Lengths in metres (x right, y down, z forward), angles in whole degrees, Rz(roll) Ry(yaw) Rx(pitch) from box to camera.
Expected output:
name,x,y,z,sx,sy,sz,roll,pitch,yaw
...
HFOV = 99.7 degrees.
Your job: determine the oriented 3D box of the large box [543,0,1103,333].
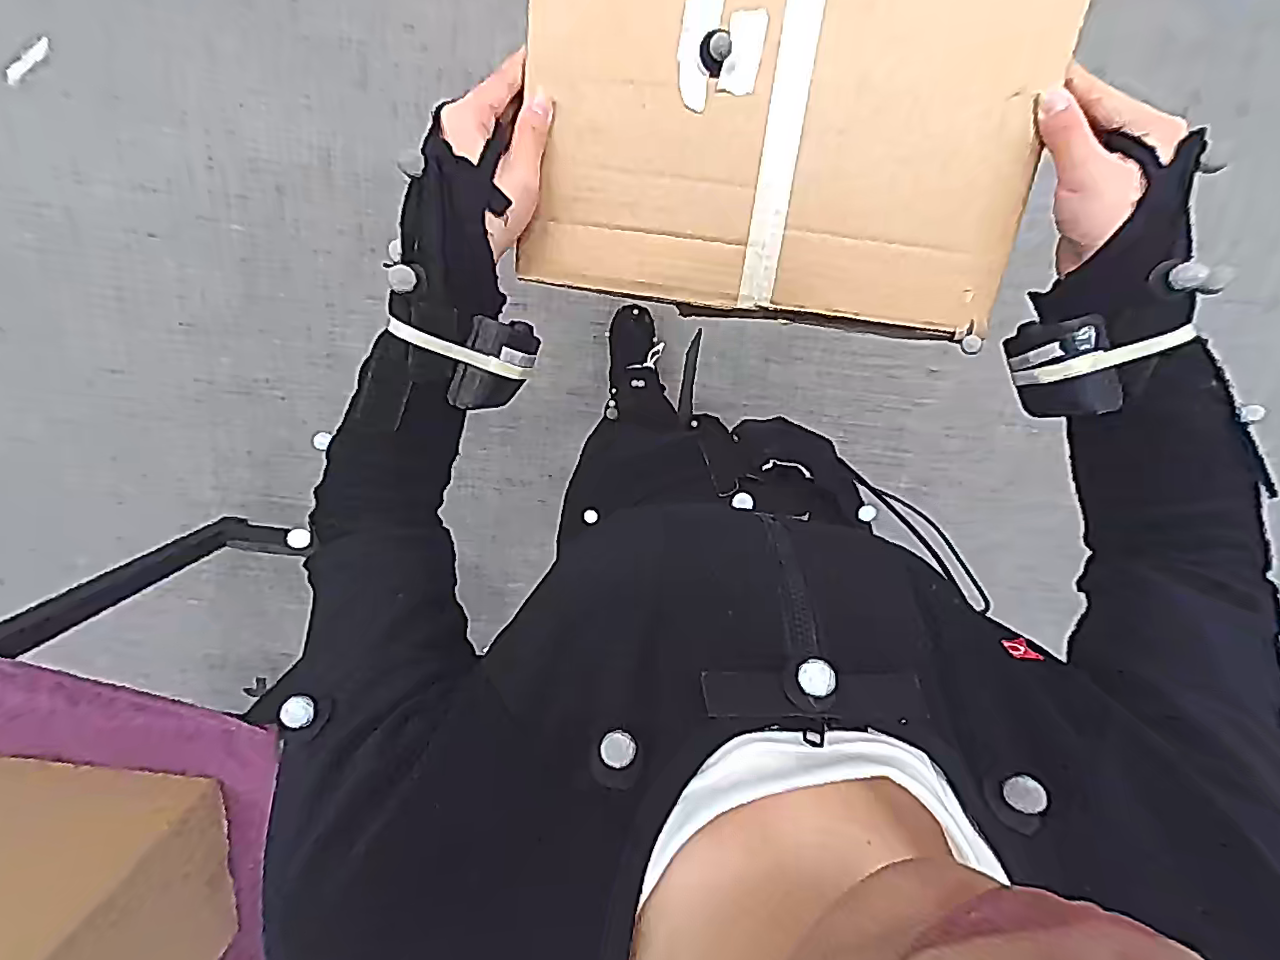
name,x,y,z,sx,sy,sz,roll,pitch,yaw
large box,0.110,-0.347,0.432,0.320,0.320,0.408,7,109,0
